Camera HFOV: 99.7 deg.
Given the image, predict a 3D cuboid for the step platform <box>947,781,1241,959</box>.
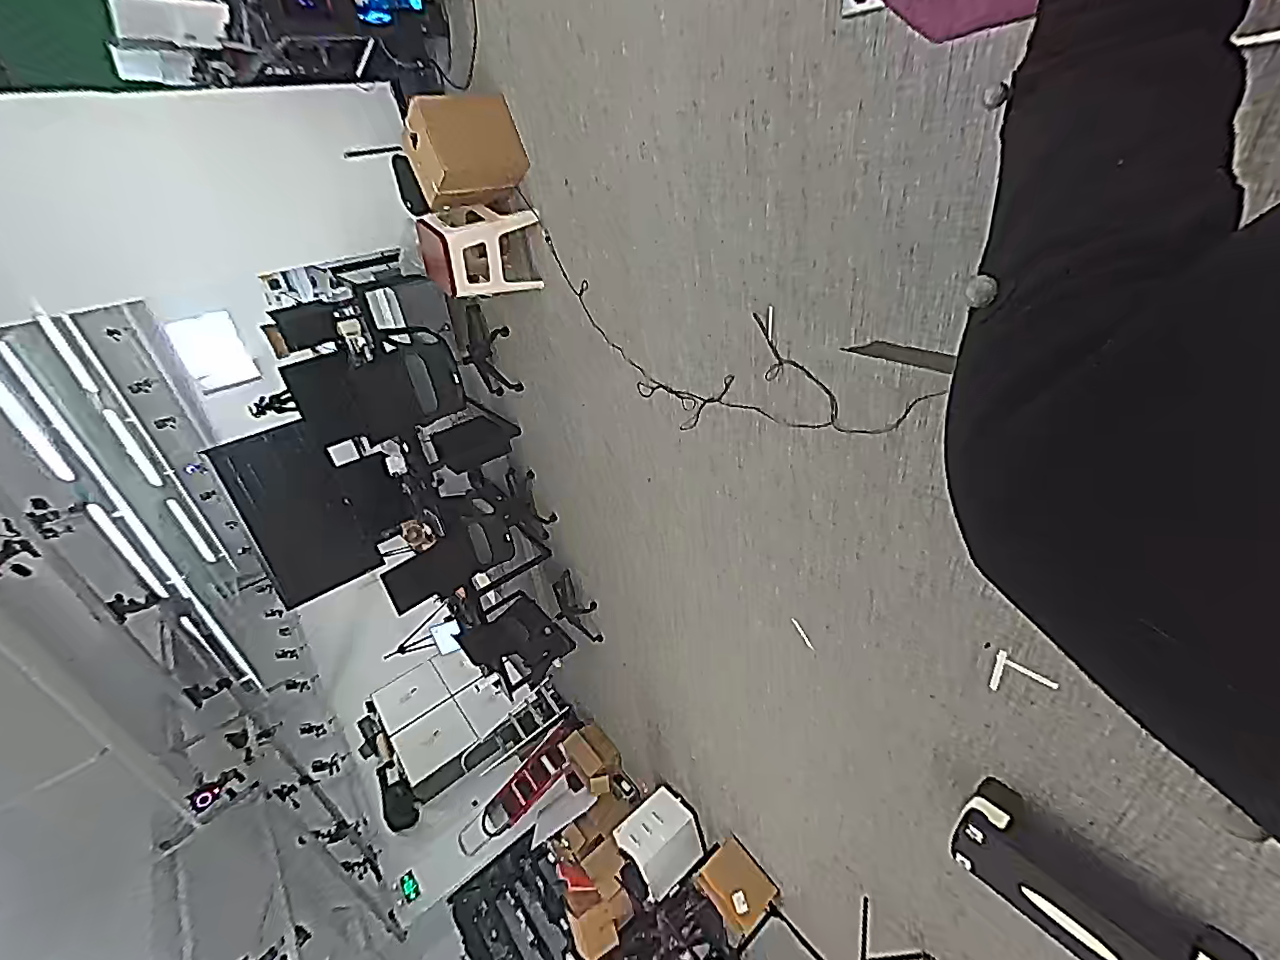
[{"bbox_3d":[1.336,1.299,1.669,0.684,0.204,0.286,28,137,43],"label":"step platform"}]
